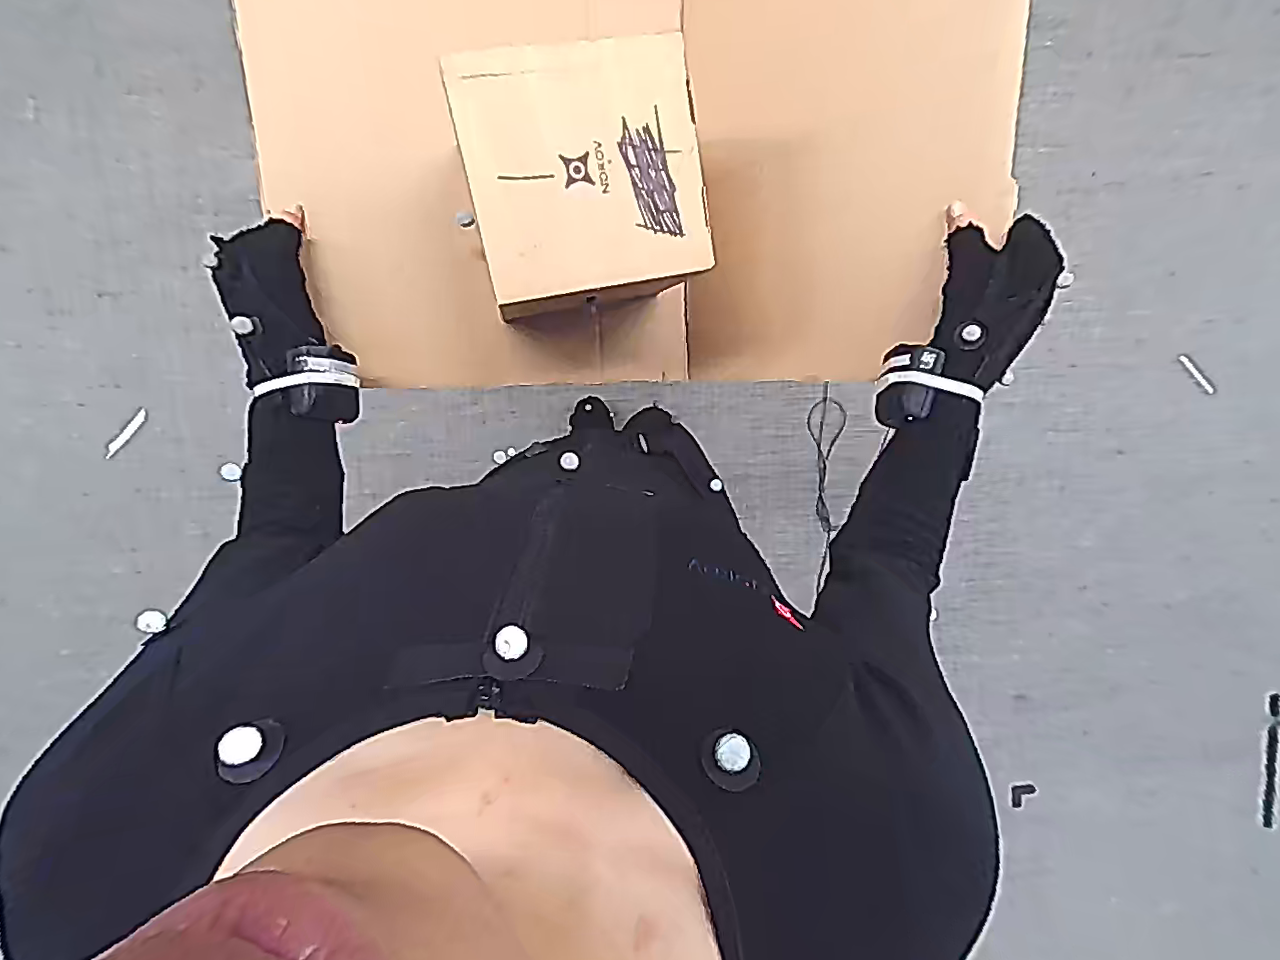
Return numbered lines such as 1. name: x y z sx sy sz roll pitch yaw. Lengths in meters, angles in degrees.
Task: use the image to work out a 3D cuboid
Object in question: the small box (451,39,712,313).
1. small box: -0.054 -0.250 0.482 0.179 0.176 0.168 -13 105 -10
